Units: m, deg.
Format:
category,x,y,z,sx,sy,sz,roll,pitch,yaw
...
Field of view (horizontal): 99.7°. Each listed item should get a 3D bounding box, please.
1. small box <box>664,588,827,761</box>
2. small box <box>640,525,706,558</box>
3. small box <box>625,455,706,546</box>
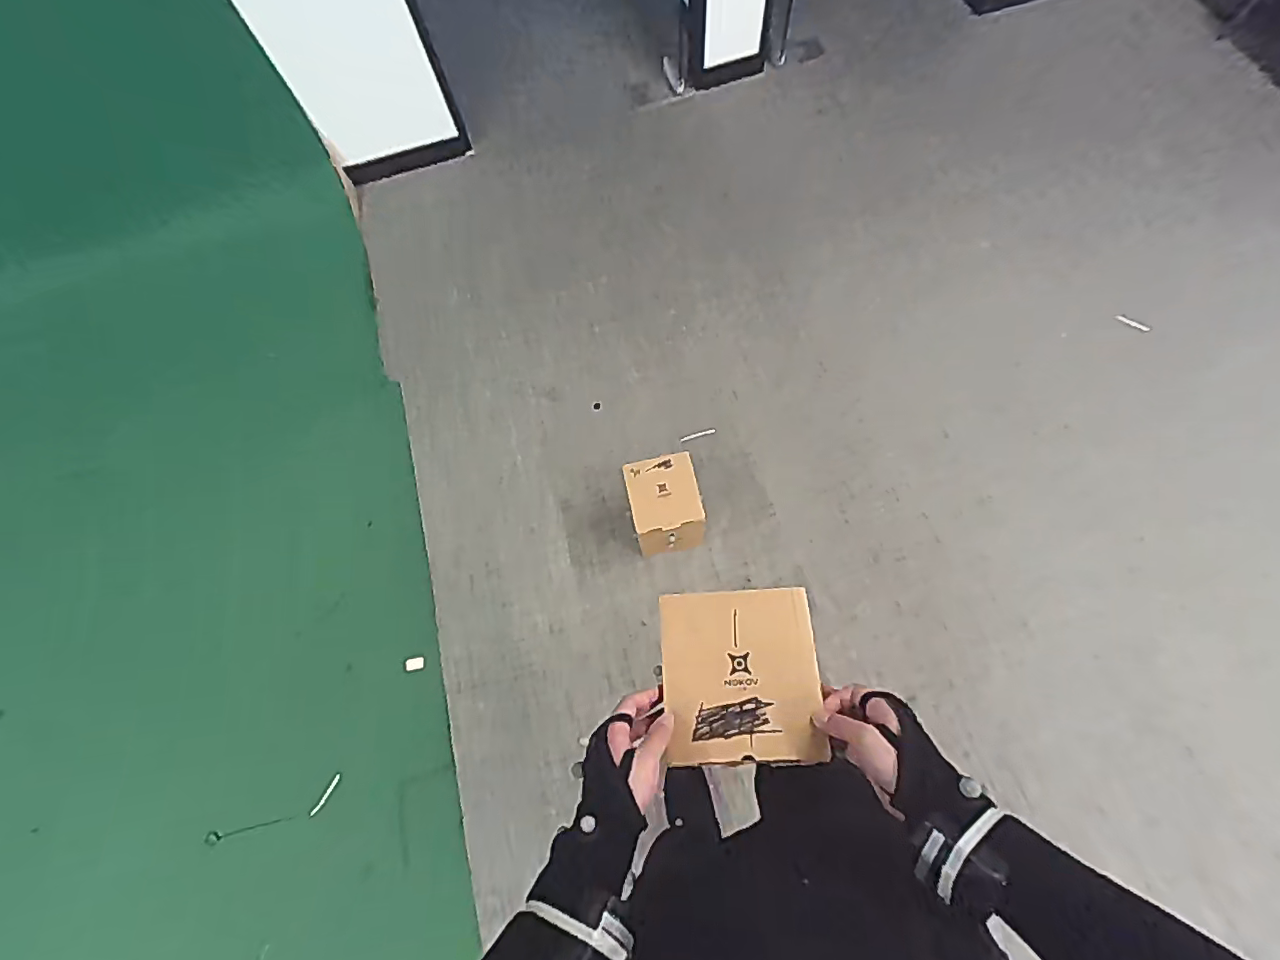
category,x,y,z,sx,sy,sz,roll,pitch,yaw
small box,0.119,0.239,0.667,0.168,0.176,0.179,-4,67,4
small box,0.079,0.110,1.501,0.179,0.176,0.168,-11,71,0
small box,0.065,0.060,1.346,0.168,0.176,0.179,-12,72,0
